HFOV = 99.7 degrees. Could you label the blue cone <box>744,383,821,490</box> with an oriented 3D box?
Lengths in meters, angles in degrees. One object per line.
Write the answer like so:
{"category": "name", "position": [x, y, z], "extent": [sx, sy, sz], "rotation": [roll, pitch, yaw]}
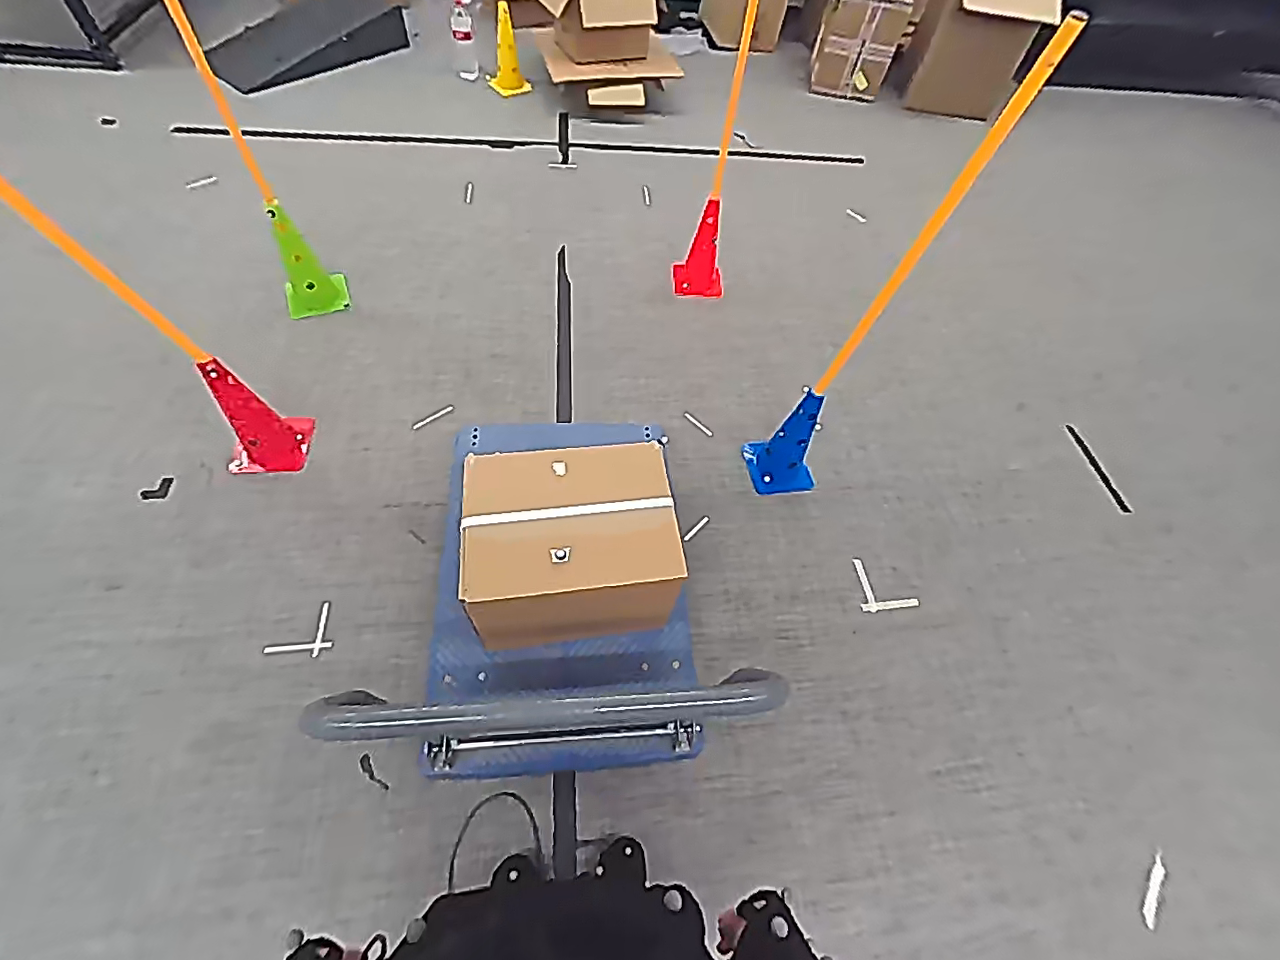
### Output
{"category": "blue cone", "position": [0.463, -0.140, 1.621], "extent": [0.193, 0.380, 0.192], "rotation": [-5, 57, -10]}

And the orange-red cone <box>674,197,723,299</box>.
{"category": "orange-red cone", "position": [0.257, -0.905, 2.071], "extent": [0.199, 0.360, 0.198], "rotation": [5, 58, -4]}
